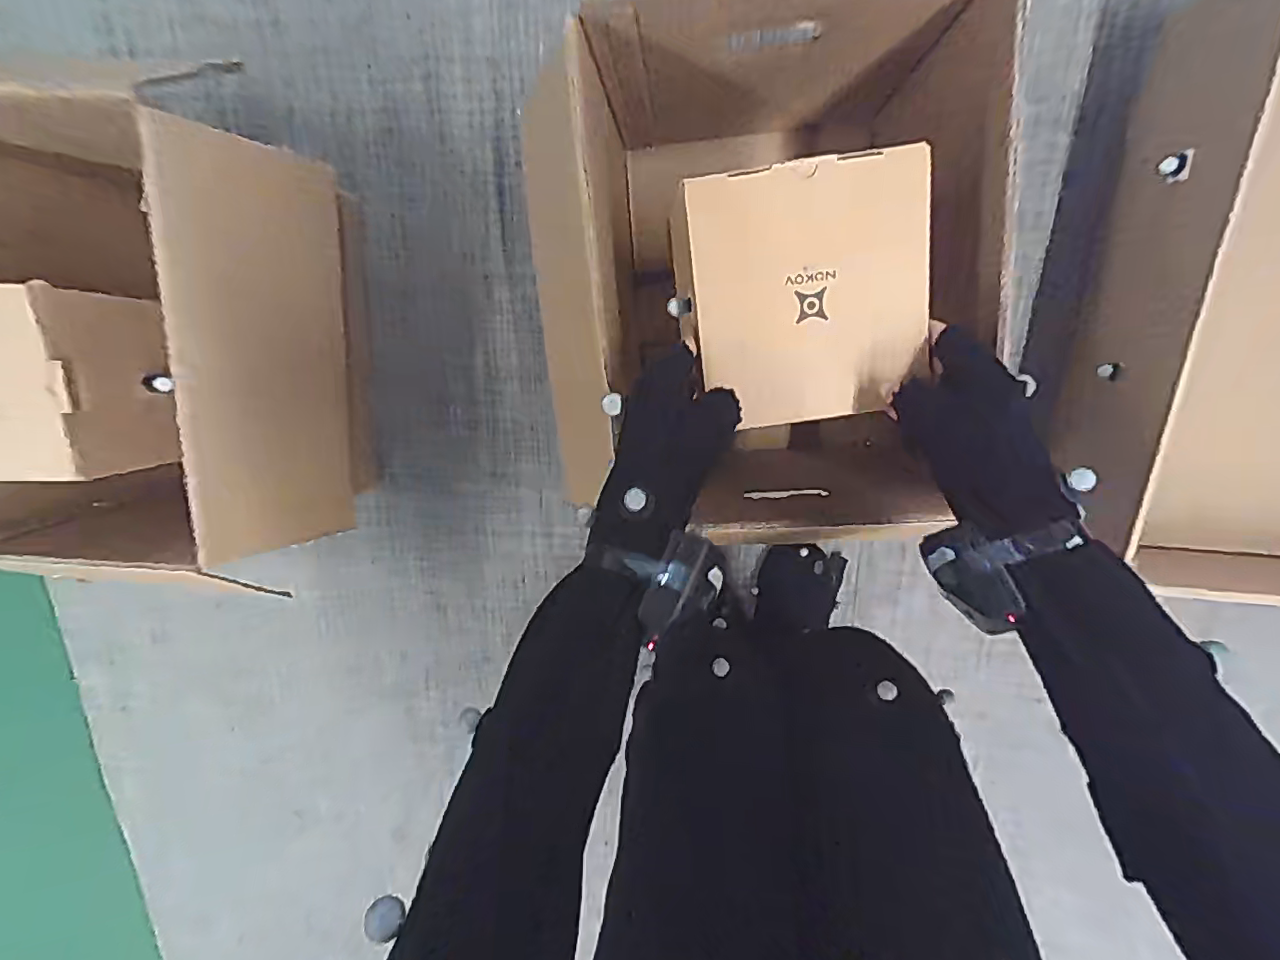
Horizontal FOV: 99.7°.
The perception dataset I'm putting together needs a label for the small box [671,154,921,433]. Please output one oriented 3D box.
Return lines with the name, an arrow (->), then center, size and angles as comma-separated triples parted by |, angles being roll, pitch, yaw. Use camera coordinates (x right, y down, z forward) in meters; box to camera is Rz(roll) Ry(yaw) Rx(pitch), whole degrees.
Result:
small box -> 0.120, -0.150, 0.467 | 0.168, 0.176, 0.179 | -8, 105, 2
